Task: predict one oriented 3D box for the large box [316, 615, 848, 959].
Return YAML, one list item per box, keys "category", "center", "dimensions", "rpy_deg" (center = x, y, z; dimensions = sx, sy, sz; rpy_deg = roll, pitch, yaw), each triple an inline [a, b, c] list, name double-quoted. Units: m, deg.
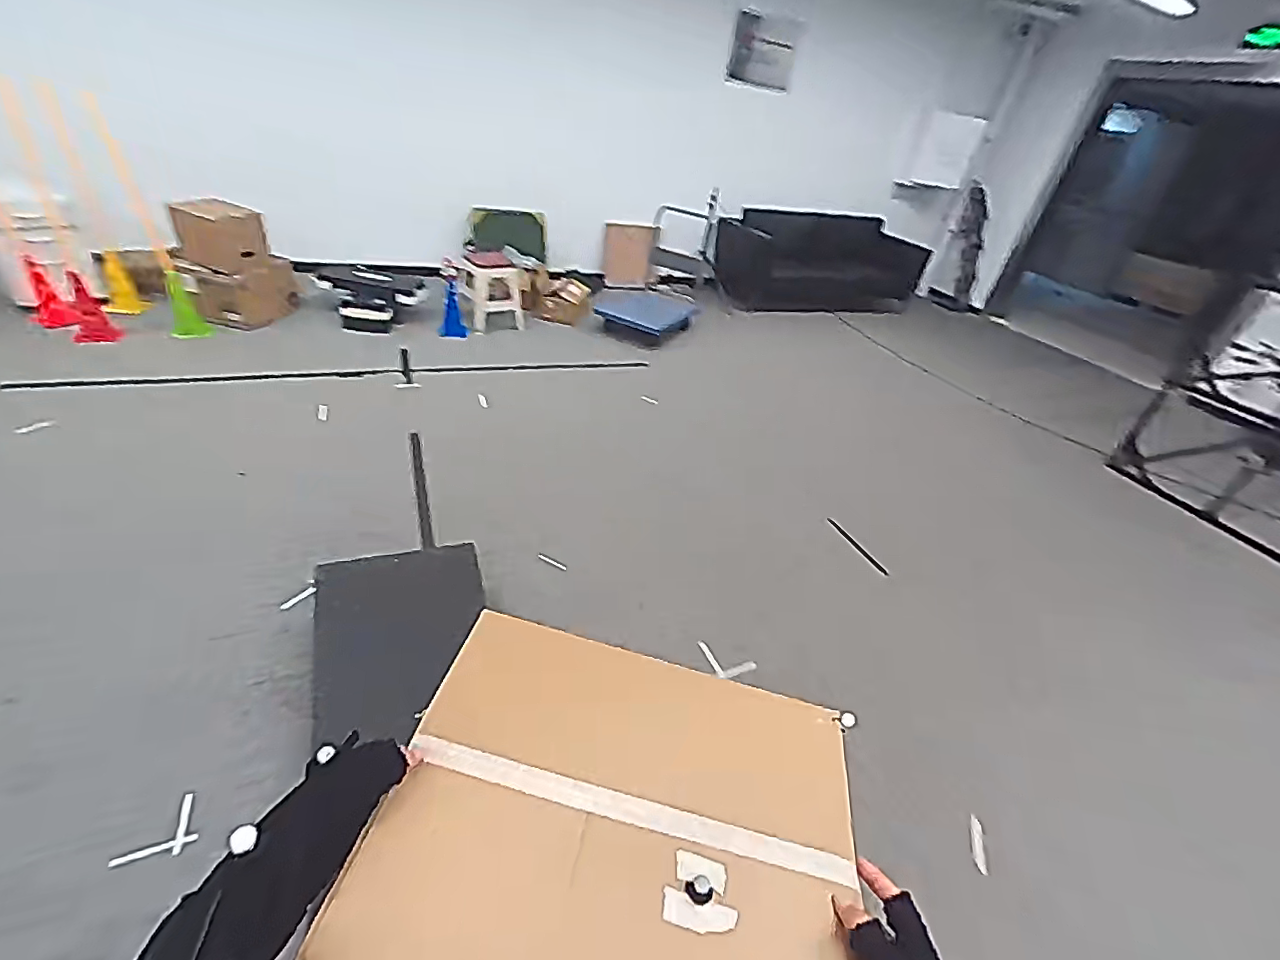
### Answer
- category: "large box"
  center: [-0.043, 0.404, 0.580]
  dimensions: [0.408, 0.320, 0.320]
  rpy_deg: [15, 38, 2]
